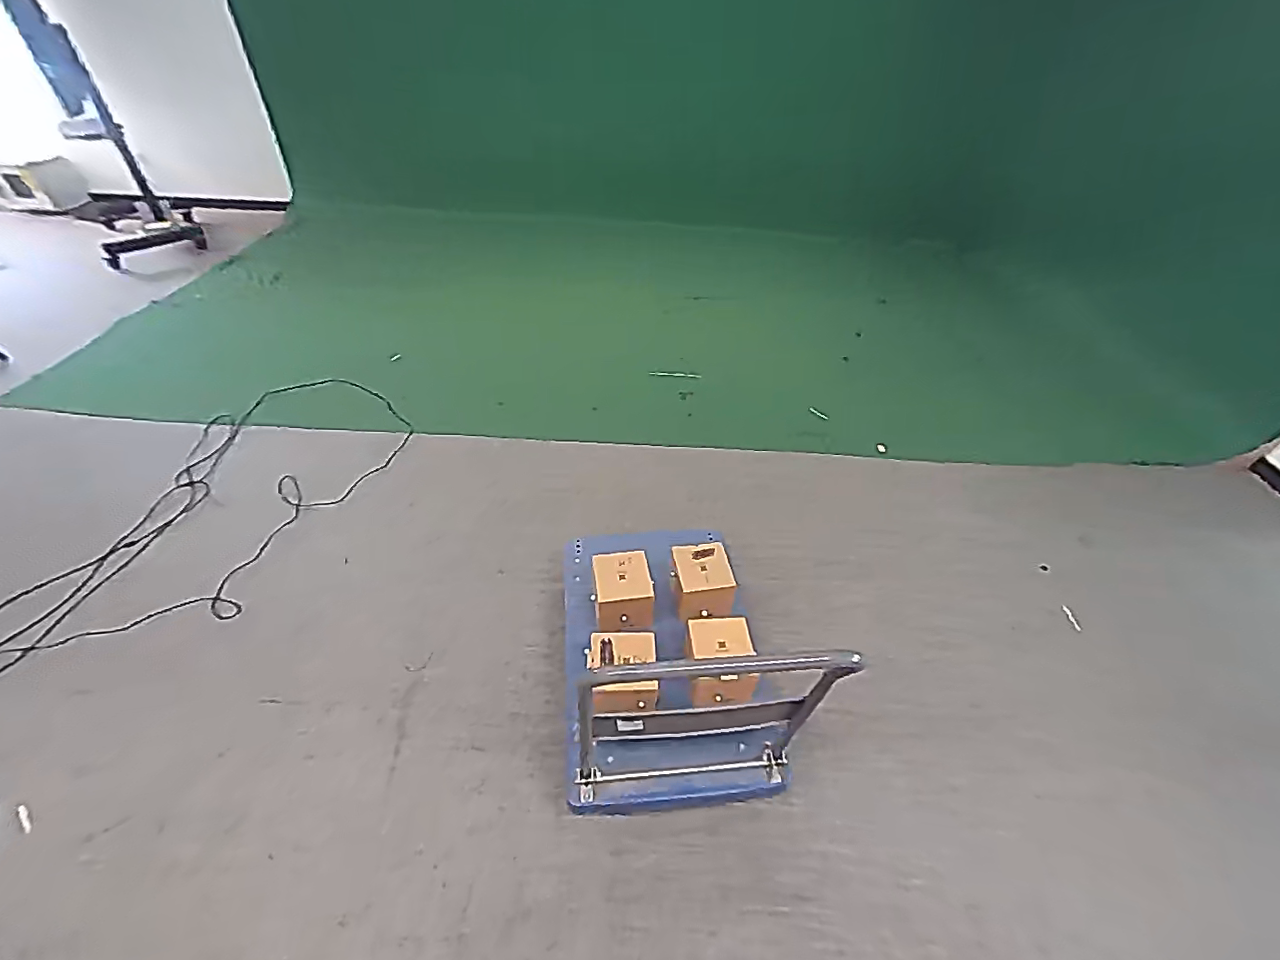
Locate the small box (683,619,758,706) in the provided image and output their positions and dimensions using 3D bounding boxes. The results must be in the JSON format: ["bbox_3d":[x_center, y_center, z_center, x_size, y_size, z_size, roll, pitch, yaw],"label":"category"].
[{"bbox_3d":[0.219,0.518,1.534,0.168,0.176,0.179,-2,44,-6],"label":"small box"}]

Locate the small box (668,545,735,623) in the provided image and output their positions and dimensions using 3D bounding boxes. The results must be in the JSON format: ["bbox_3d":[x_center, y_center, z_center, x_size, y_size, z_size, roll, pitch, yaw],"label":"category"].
[{"bbox_3d":[0.189,0.333,1.729,0.168,0.176,0.179,-5,45,-8],"label":"small box"}]

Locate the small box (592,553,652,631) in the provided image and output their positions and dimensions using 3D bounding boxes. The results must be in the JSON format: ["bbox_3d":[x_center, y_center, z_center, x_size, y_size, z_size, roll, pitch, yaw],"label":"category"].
[{"bbox_3d":[-0.059,0.355,1.690,0.168,0.176,0.179,-4,43,-9],"label":"small box"}]
